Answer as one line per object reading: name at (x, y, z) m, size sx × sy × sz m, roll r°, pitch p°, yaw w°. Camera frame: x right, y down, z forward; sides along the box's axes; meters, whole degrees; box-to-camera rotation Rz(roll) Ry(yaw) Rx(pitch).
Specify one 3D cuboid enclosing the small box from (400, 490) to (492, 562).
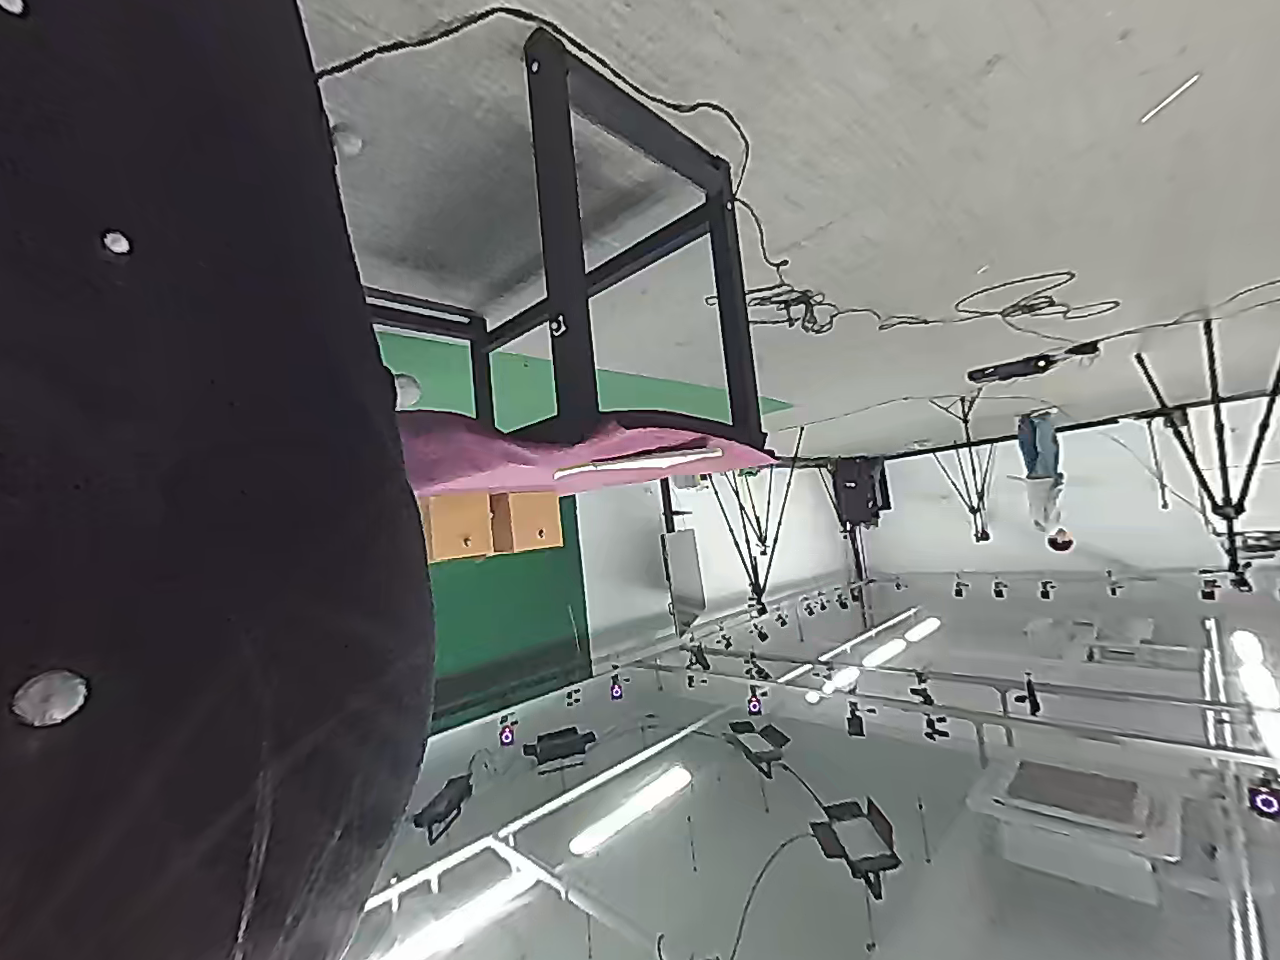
small box at (-0.521, 0.121, 1.445) m, size 0.168 × 0.176 × 0.179 m, roll -11°, pitch 173°, yaw 39°

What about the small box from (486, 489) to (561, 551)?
small box at (-0.357, 0.117, 1.597) m, size 0.168 × 0.176 × 0.179 m, roll -10°, pitch 173°, yaw 42°
